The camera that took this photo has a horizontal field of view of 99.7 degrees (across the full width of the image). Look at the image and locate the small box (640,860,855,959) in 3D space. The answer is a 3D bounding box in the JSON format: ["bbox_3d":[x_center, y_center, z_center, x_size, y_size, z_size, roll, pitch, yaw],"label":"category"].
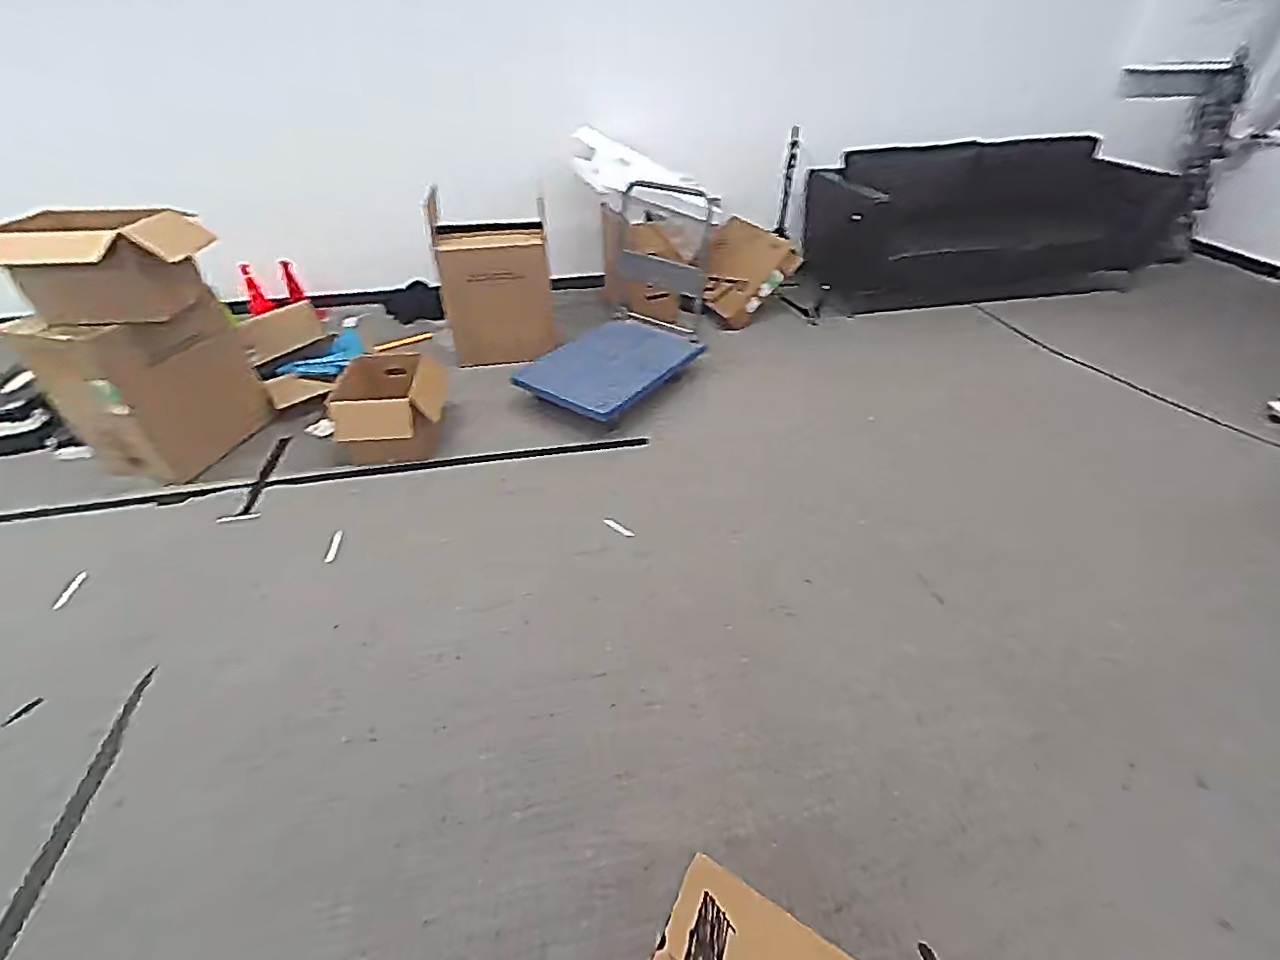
[{"bbox_3d":[0.082,0.511,0.496,0.179,0.176,0.168,17,37,24],"label":"small box"}]
